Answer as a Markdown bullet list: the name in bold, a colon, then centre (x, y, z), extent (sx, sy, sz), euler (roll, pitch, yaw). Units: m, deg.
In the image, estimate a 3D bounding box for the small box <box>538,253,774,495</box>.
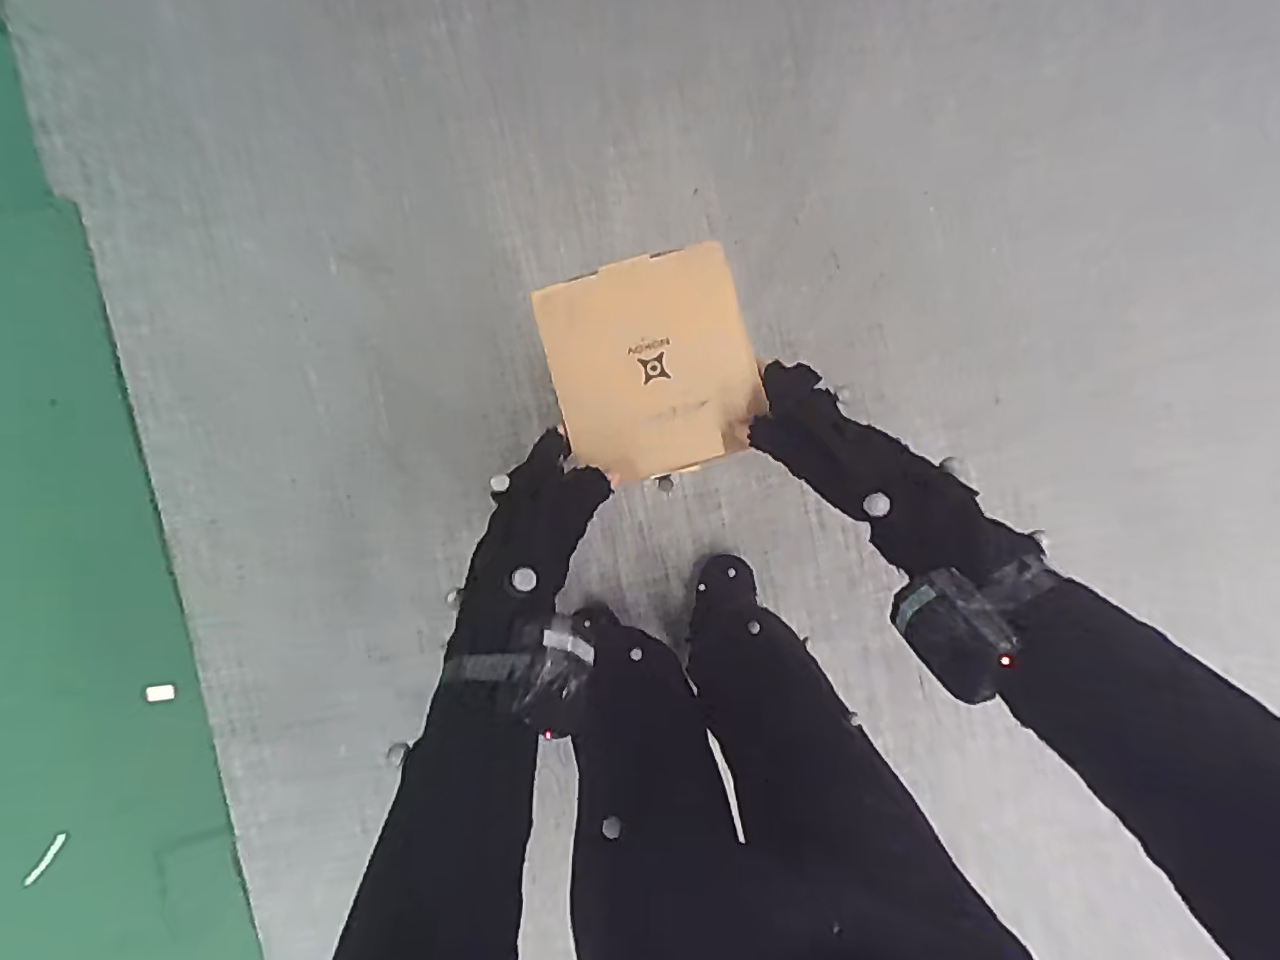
- **small box**: centre (0.013, -0.087, 0.537), extent (0.168, 0.176, 0.179), euler (-16, 89, 1)
